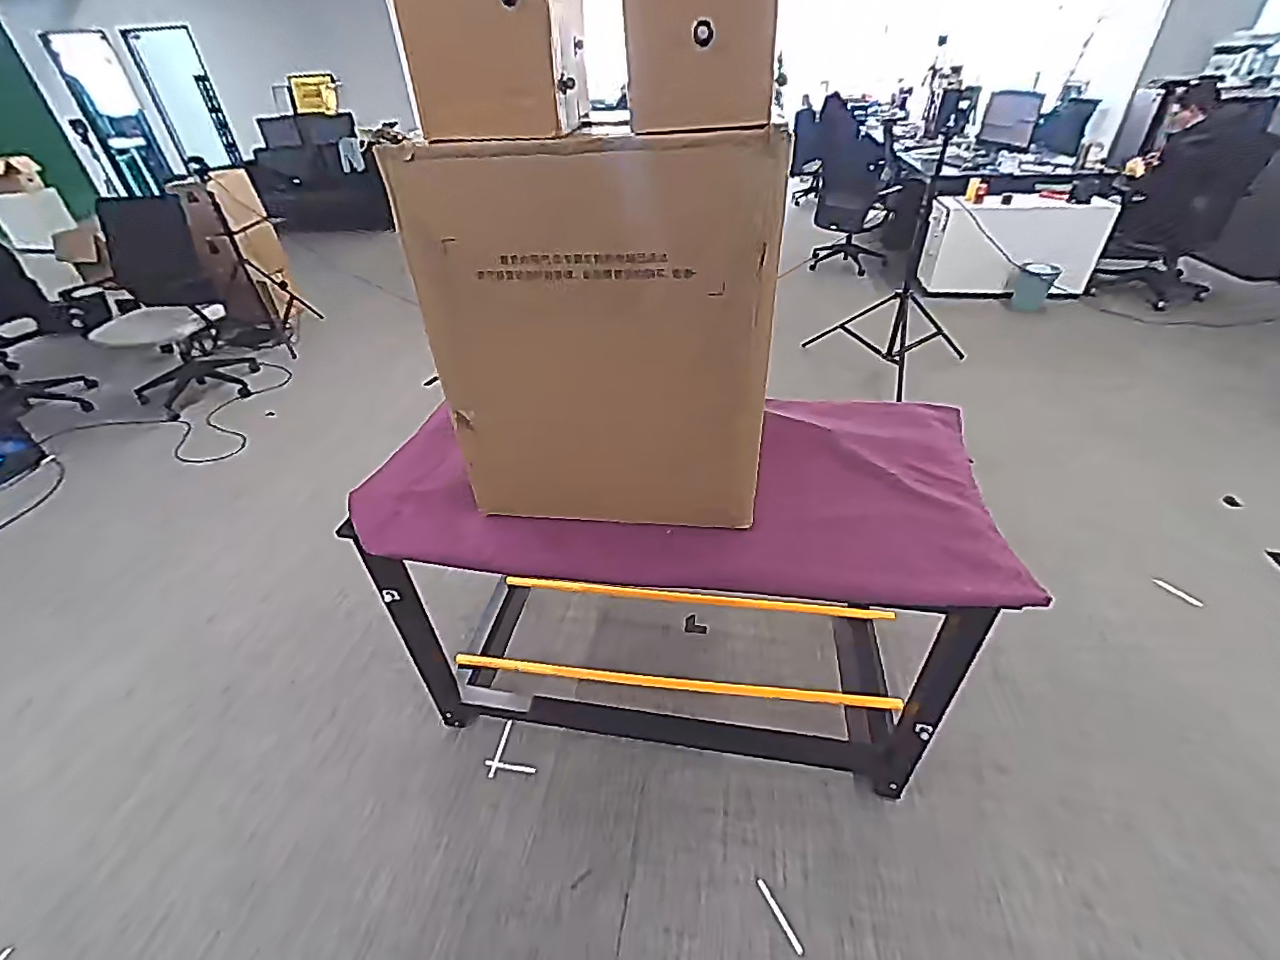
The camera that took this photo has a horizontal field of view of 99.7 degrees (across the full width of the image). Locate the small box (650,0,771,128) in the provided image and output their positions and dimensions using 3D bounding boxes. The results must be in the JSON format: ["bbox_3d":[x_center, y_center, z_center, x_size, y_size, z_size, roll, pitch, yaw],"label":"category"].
[{"bbox_3d":[0.109,-0.641,0.822,0.168,0.176,0.179,3,38,10],"label":"small box"}]
